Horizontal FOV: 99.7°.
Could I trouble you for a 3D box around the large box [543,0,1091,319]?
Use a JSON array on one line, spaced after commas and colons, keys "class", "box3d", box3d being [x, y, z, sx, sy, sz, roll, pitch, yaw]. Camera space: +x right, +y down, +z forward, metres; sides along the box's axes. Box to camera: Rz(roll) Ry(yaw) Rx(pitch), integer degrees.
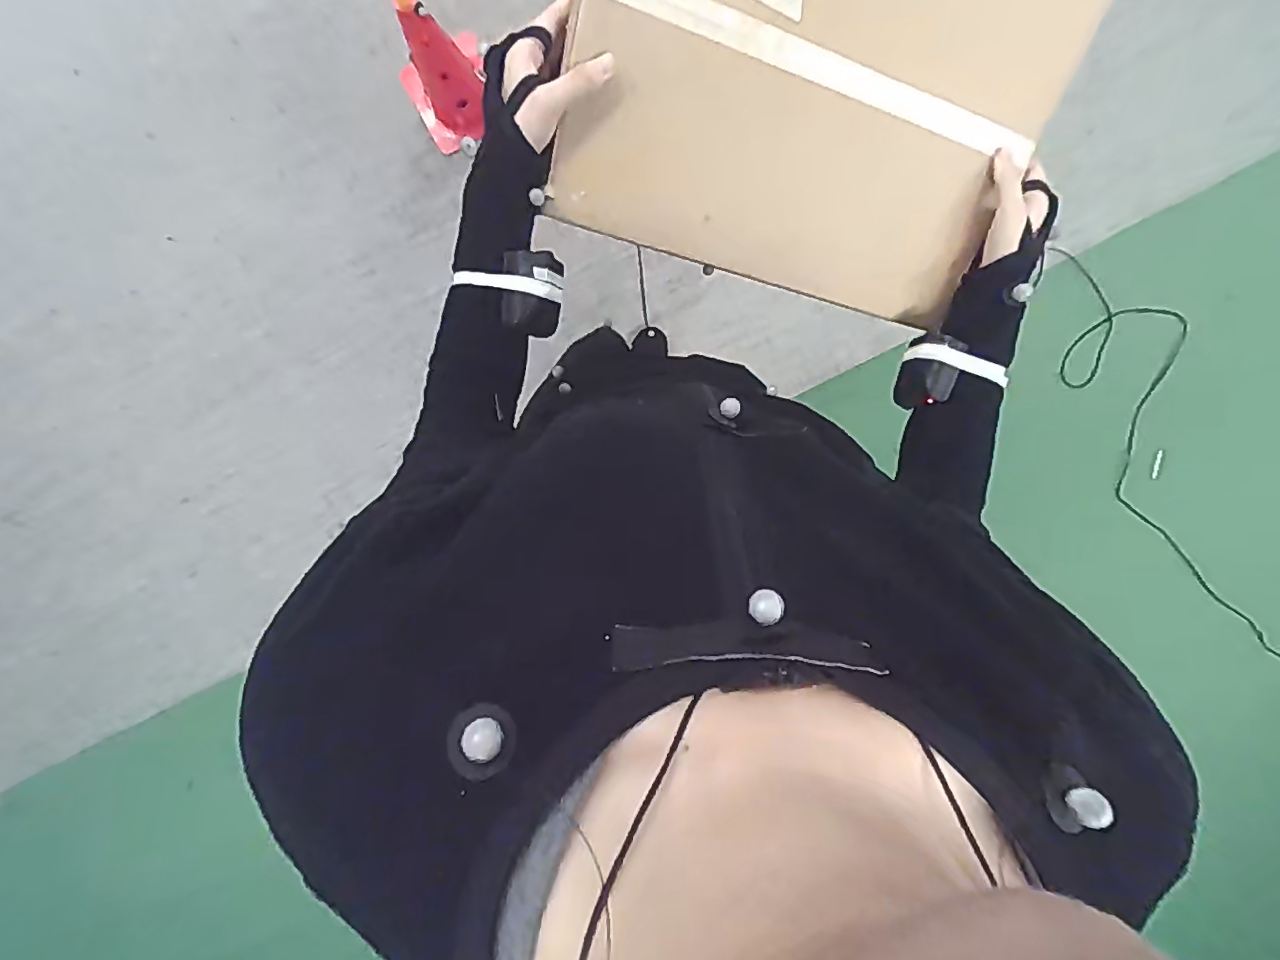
[{"class": "large box", "box3d": [0.127, -0.397, 0.569, 0.408, 0.320, 0.320, 11, 116, -15]}]
